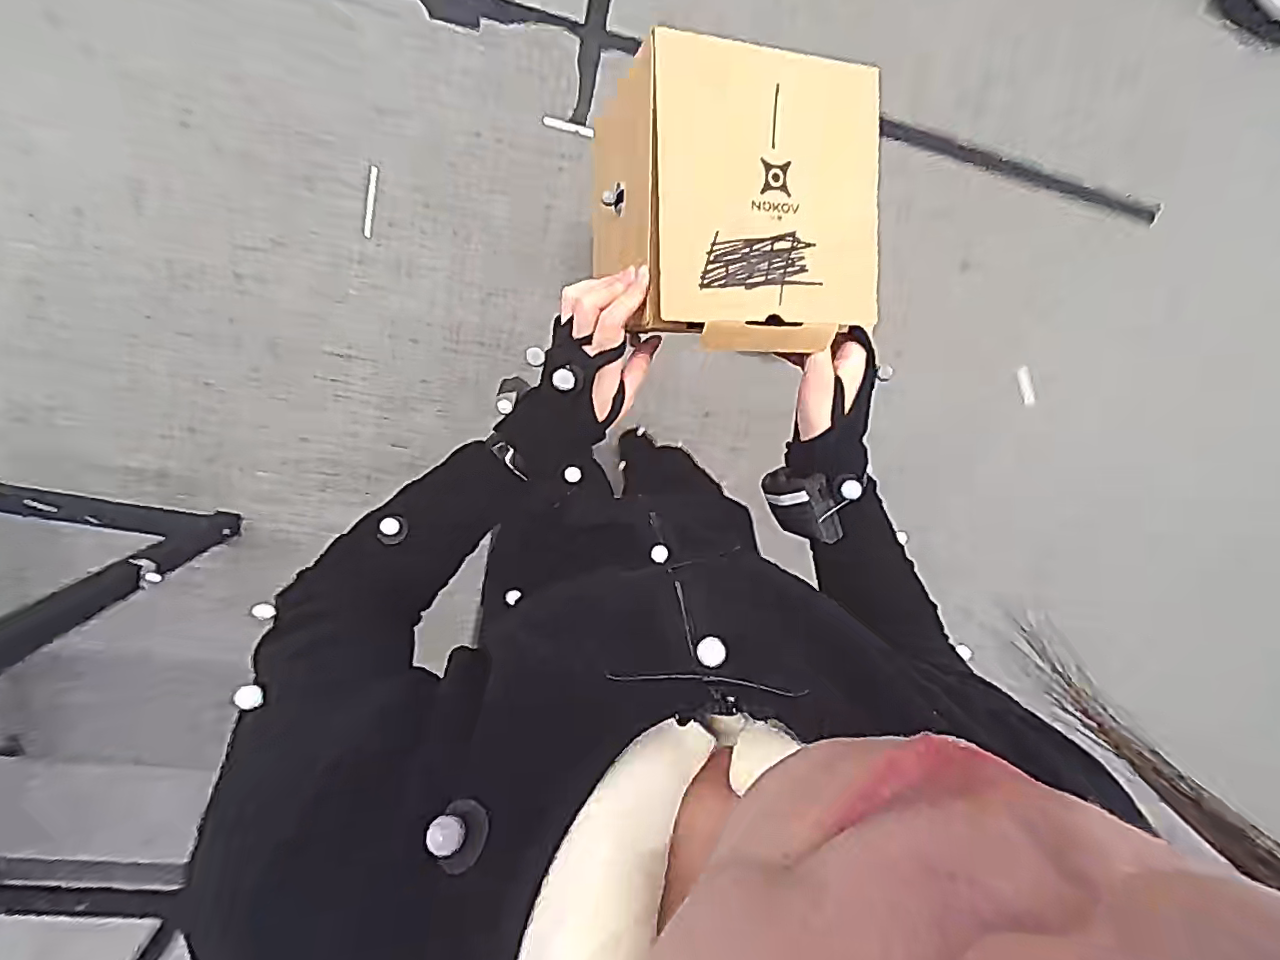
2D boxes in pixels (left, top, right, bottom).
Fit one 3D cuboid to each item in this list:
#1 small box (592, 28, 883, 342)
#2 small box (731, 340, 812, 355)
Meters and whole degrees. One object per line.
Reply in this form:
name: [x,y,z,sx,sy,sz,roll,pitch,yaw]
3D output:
small box: [0.059,-0.203,0.431,0.168,0.176,0.179,-4,104,-17]
small box: [0.334,-0.416,1.337,0.168,0.176,0.179,13,101,-11]
